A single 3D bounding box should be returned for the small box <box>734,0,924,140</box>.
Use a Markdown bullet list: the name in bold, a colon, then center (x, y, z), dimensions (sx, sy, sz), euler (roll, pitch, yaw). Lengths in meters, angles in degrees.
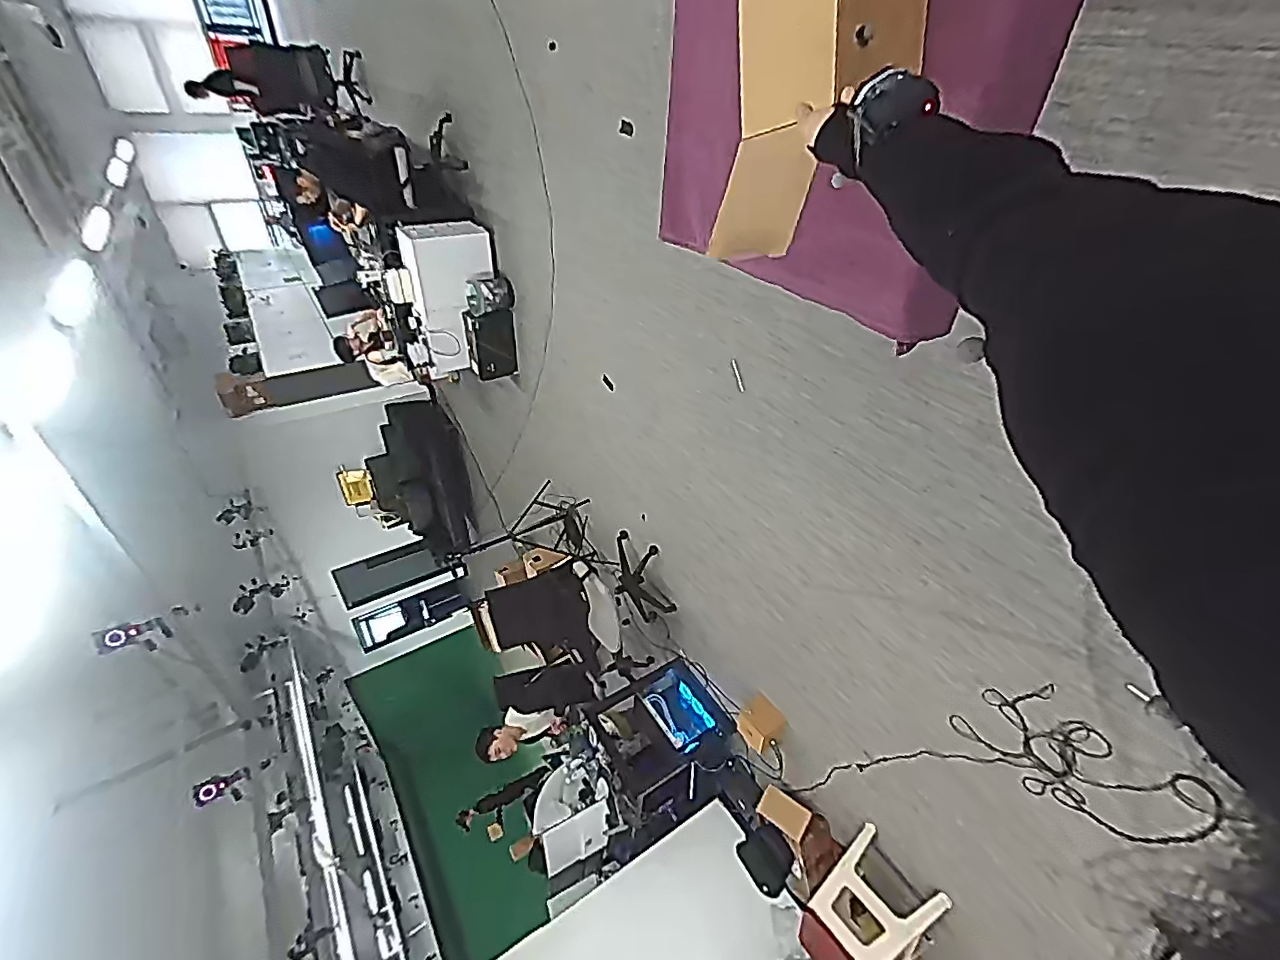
- **small box**: center (0.242, -0.560, 0.704), dimensions (0.168, 0.176, 0.179), euler (30, 132, 52)
